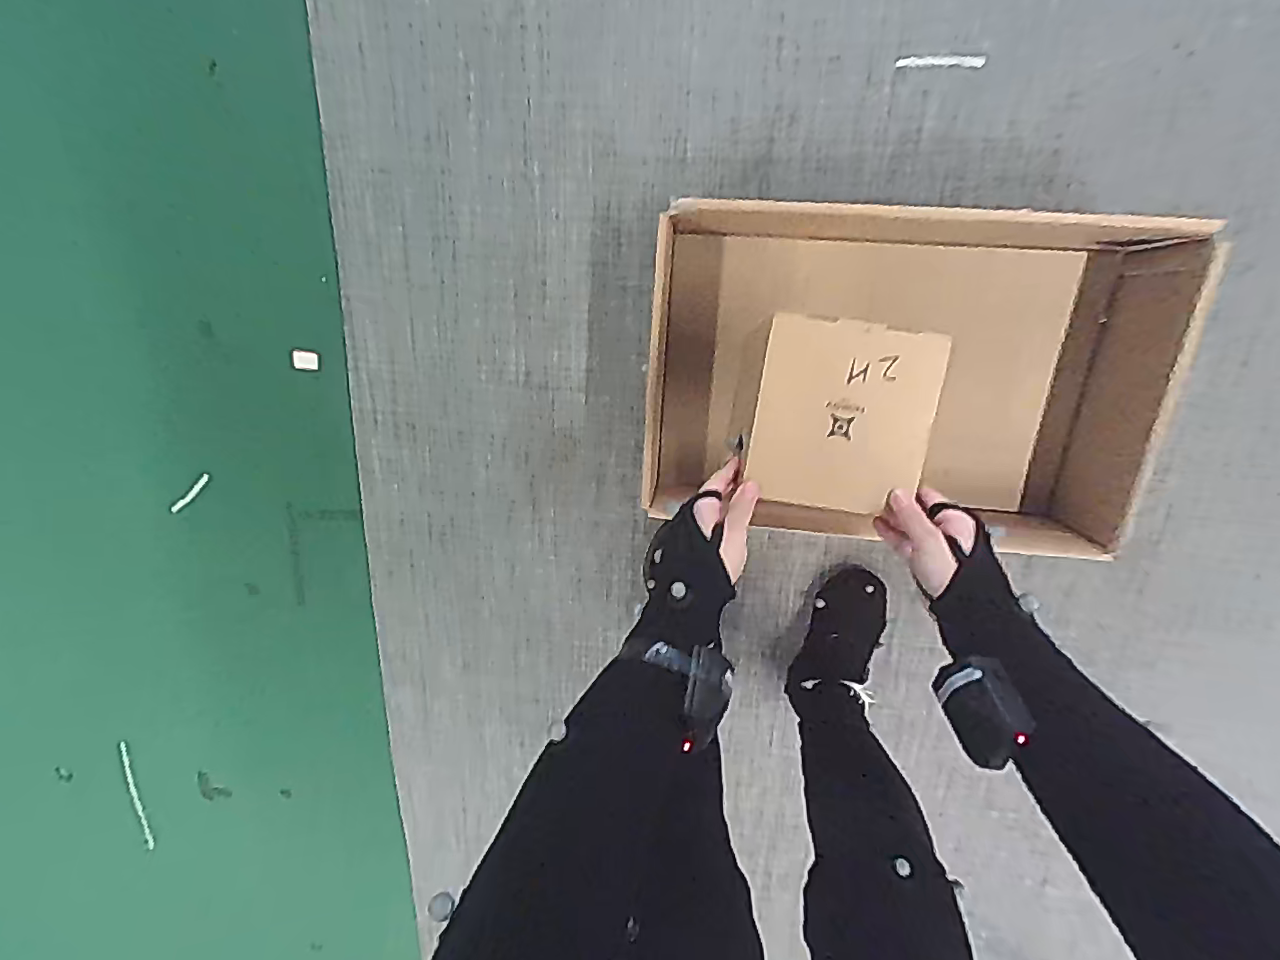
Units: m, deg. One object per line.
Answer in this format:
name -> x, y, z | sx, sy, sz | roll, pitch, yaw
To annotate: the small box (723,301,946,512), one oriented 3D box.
small box -> 0.188, -0.079, 0.583 | 0.168, 0.176, 0.179 | 9, 99, 0
